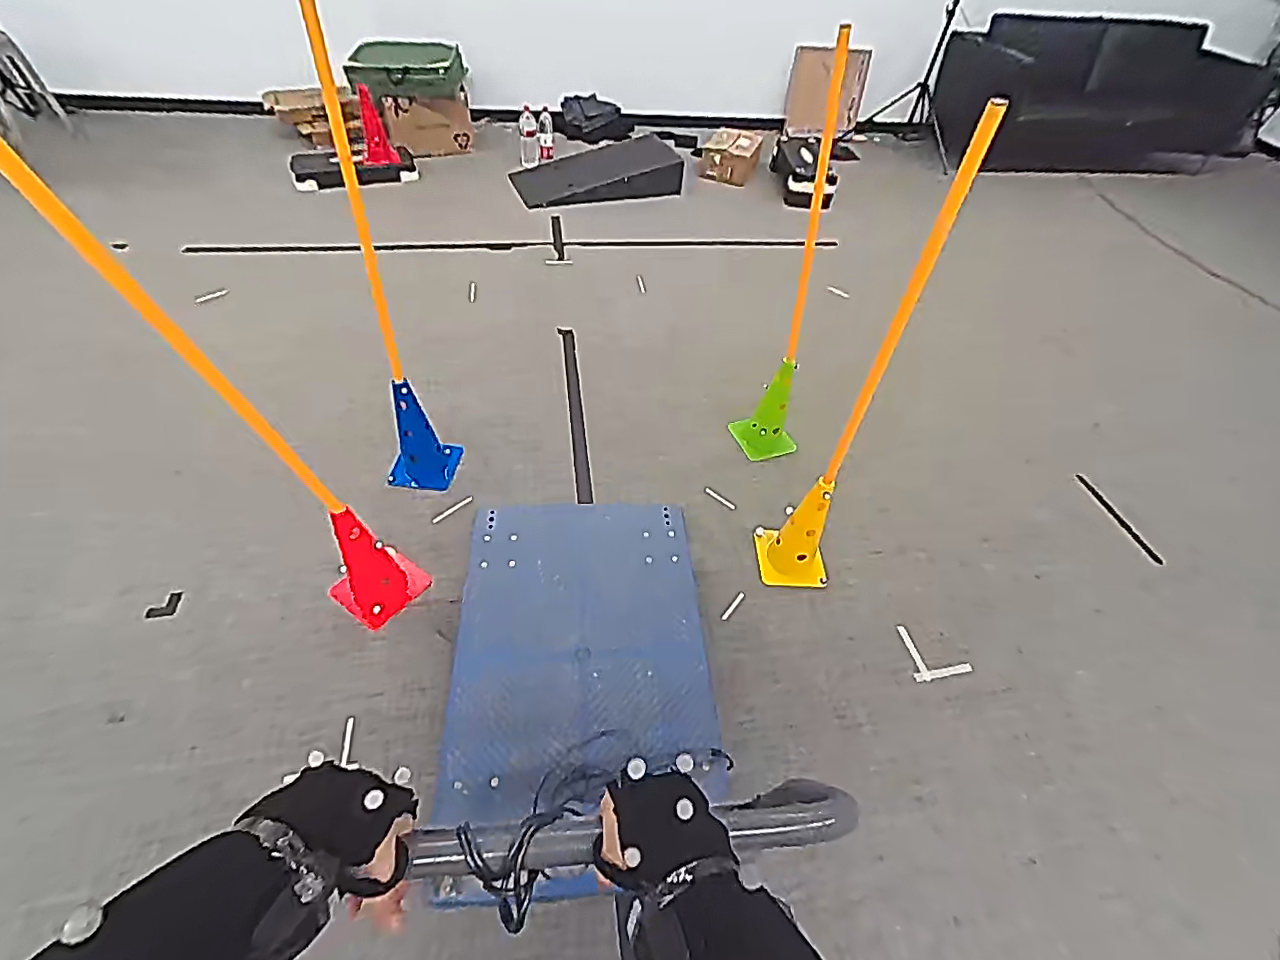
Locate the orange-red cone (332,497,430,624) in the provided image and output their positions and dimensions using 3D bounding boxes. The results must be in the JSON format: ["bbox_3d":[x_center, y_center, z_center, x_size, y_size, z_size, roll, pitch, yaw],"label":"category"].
[{"bbox_3d":[-0.694,0.168,1.359,0.198,0.360,0.199,32,52,19],"label":"orange-red cone"}]

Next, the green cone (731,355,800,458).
[{"bbox_3d":[0.473,-0.278,1.864,0.200,0.368,0.202,-15,53,-18],"label":"green cone"}]

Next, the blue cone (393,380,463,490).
[{"bbox_3d":[-0.684,-0.156,1.661,0.193,0.380,0.192,8,50,1],"label":"blue cone"}]
